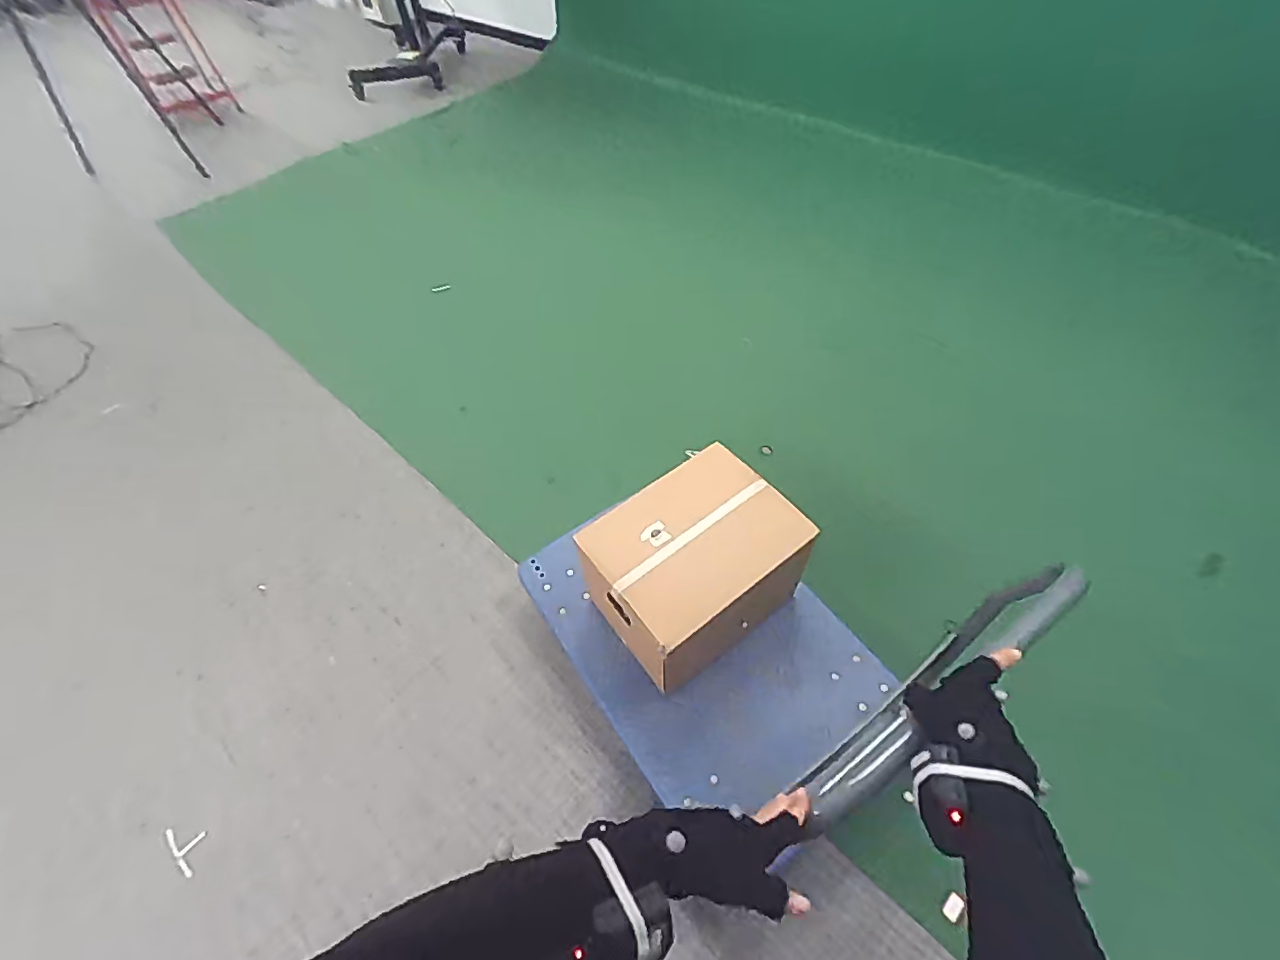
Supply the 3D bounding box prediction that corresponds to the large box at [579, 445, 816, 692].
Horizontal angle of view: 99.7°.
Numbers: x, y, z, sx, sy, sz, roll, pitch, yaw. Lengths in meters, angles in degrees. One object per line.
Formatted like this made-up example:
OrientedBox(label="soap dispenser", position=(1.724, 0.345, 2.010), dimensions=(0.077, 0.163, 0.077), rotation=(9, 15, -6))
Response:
OrientedBox(label="large box", position=(0.125, 0.200, 1.231), dimensions=(0.408, 0.320, 0.320), rotation=(-34, 58, -19))
